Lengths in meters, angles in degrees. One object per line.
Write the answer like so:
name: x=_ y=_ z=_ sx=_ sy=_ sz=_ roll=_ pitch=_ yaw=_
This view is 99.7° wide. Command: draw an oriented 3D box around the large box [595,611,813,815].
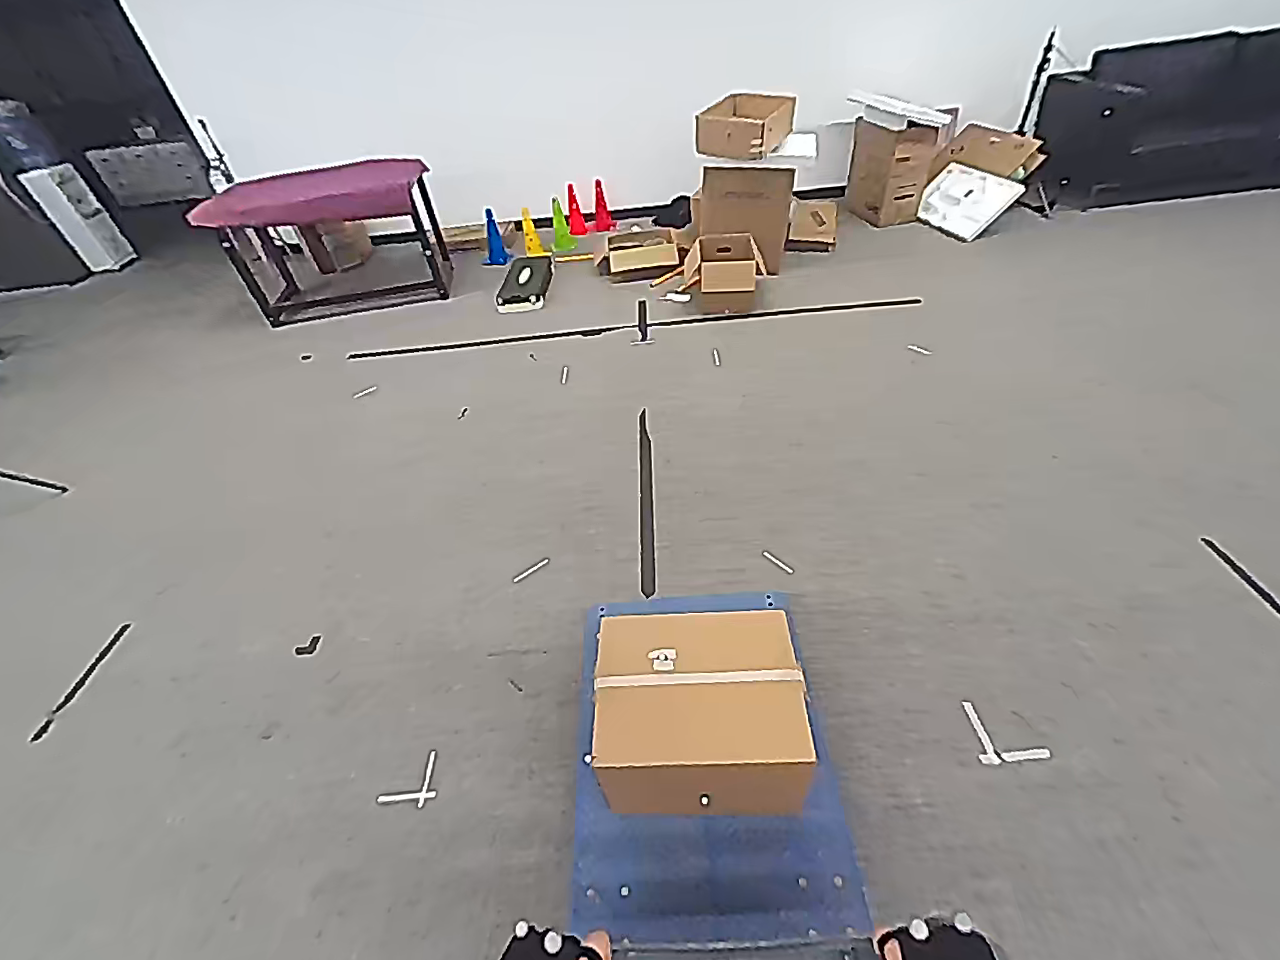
large box: x=0.130 y=0.516 z=1.189 sx=0.408 sy=0.320 sz=0.320 roll=-5 pitch=42 yaw=4
